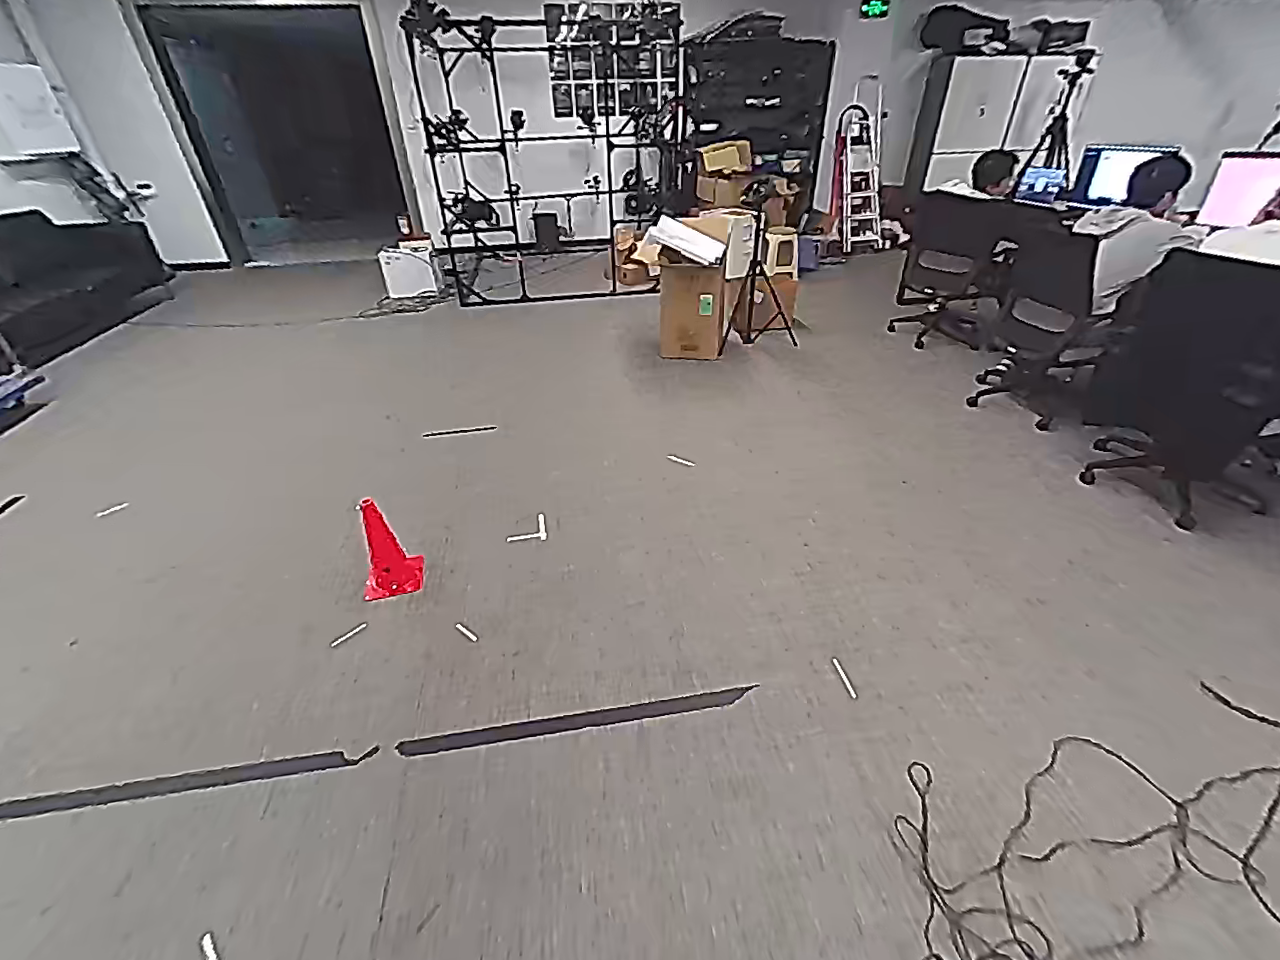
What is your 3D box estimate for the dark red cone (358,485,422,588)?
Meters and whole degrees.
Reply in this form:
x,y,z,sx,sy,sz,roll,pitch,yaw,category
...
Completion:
x,y,z,sx,sy,sz,roll,pitch,yaw,category
-0.921,0.187,1.911,0.202,0.394,0.201,-11,36,-13,dark red cone
